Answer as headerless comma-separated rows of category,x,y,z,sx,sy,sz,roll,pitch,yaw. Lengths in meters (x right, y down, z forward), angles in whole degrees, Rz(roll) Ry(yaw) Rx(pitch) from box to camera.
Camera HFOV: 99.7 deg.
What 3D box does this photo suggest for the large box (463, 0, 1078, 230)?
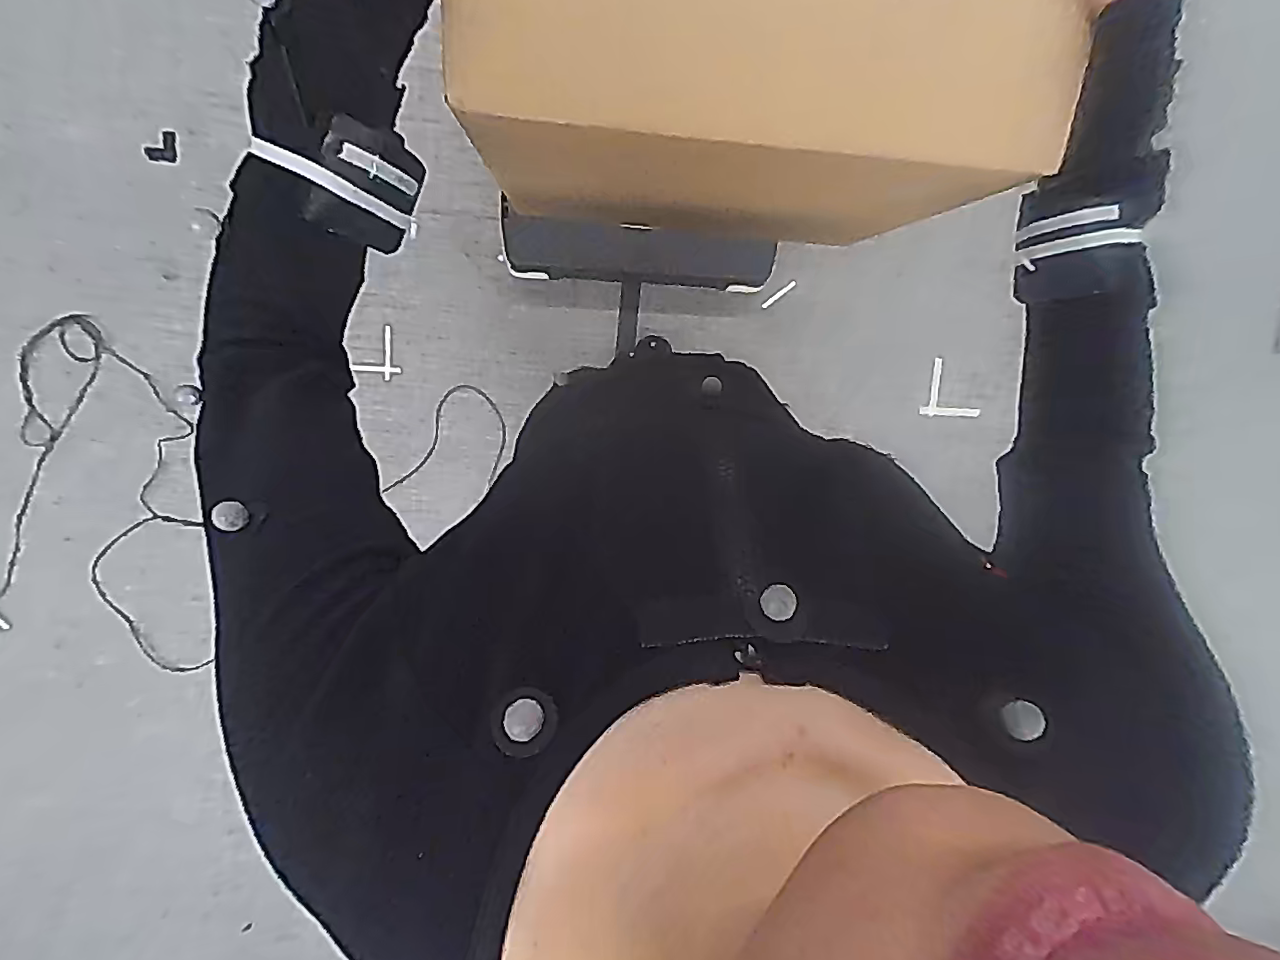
large box,0.078,-0.418,0.463,0.408,0.320,0.320,2,106,-6
